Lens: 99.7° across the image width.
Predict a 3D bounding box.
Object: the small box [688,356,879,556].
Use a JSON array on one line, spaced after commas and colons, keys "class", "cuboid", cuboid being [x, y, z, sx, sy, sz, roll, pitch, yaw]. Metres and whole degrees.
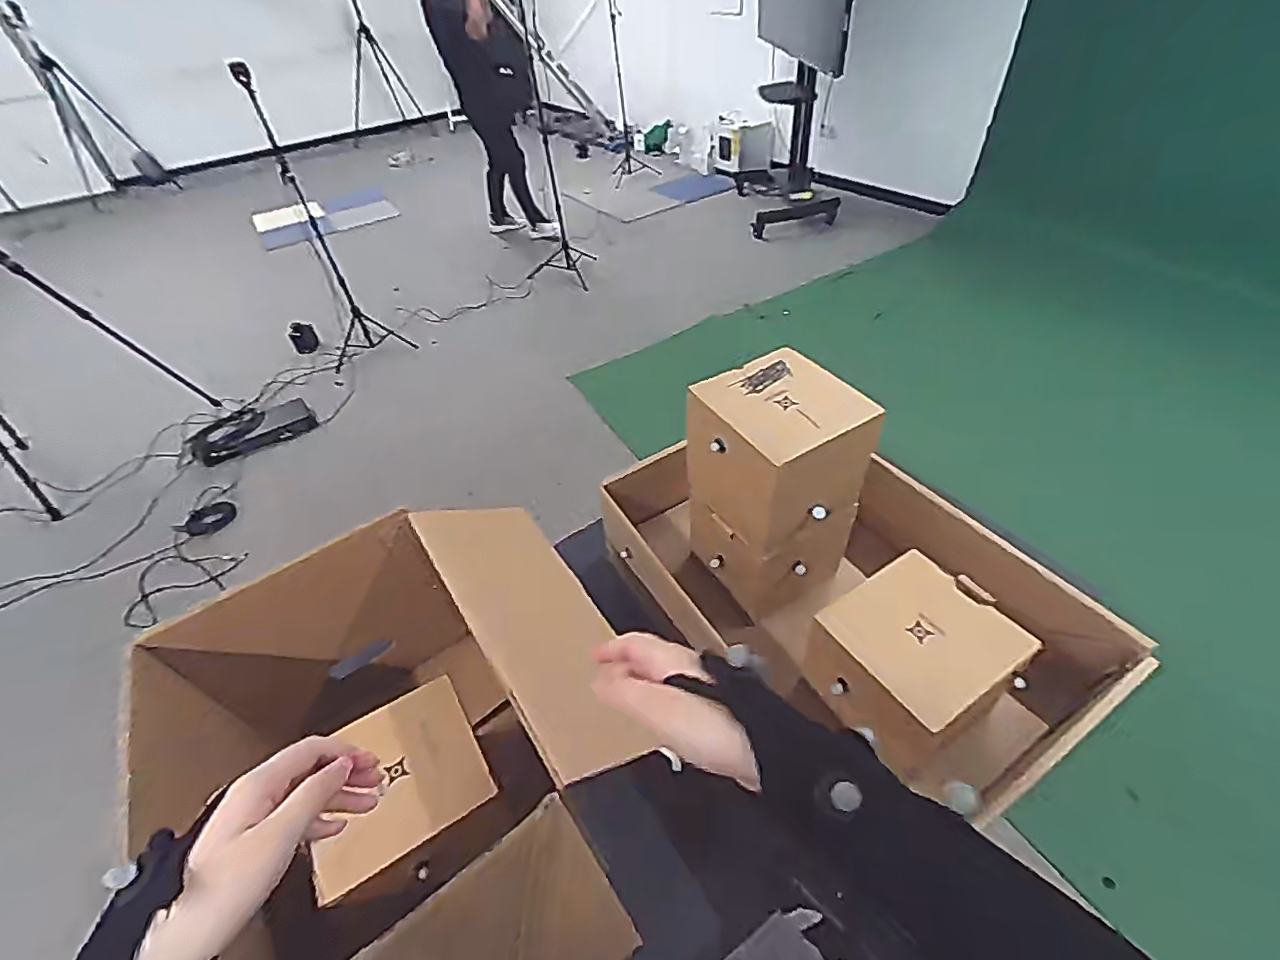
[{"class": "small box", "cuboid": [0.175, -0.033, 0.722, 0.168, 0.176, 0.179, -25, 50, -18]}]
